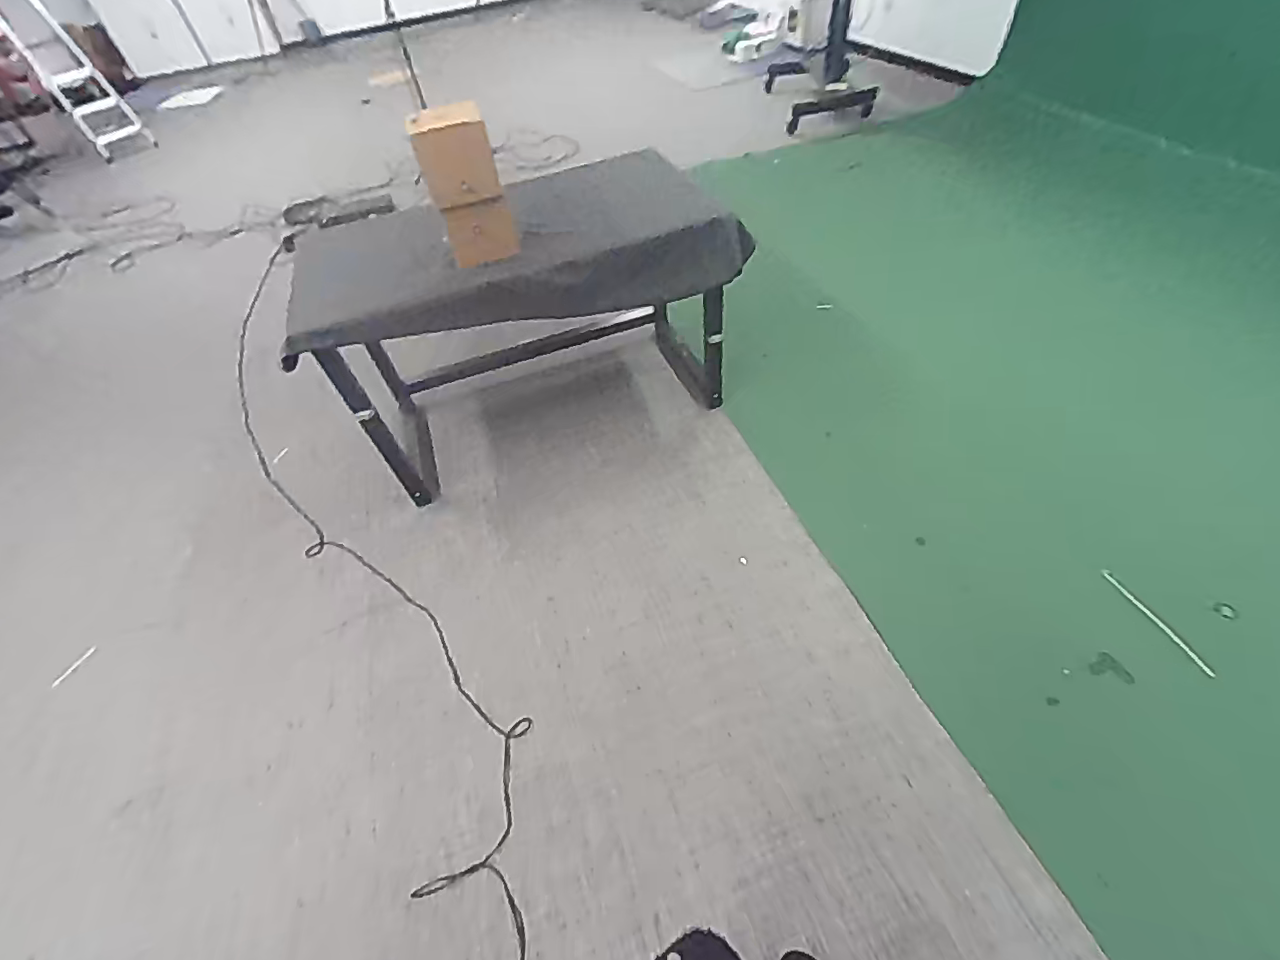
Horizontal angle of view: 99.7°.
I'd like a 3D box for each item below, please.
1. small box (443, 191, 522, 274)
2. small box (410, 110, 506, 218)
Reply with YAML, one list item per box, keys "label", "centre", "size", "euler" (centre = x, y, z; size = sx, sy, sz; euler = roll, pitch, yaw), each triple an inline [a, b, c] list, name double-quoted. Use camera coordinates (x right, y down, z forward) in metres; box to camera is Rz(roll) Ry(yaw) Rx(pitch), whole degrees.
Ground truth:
- label: "small box"
  centre: [-0.430, -0.690, 1.470]
  size: [0.179, 0.176, 0.168]
  euler: [-20, 49, -8]
- label: "small box"
  centre: [-0.443, -0.779, 1.336]
  size: [0.179, 0.176, 0.168]
  euler: [-20, 51, -8]
